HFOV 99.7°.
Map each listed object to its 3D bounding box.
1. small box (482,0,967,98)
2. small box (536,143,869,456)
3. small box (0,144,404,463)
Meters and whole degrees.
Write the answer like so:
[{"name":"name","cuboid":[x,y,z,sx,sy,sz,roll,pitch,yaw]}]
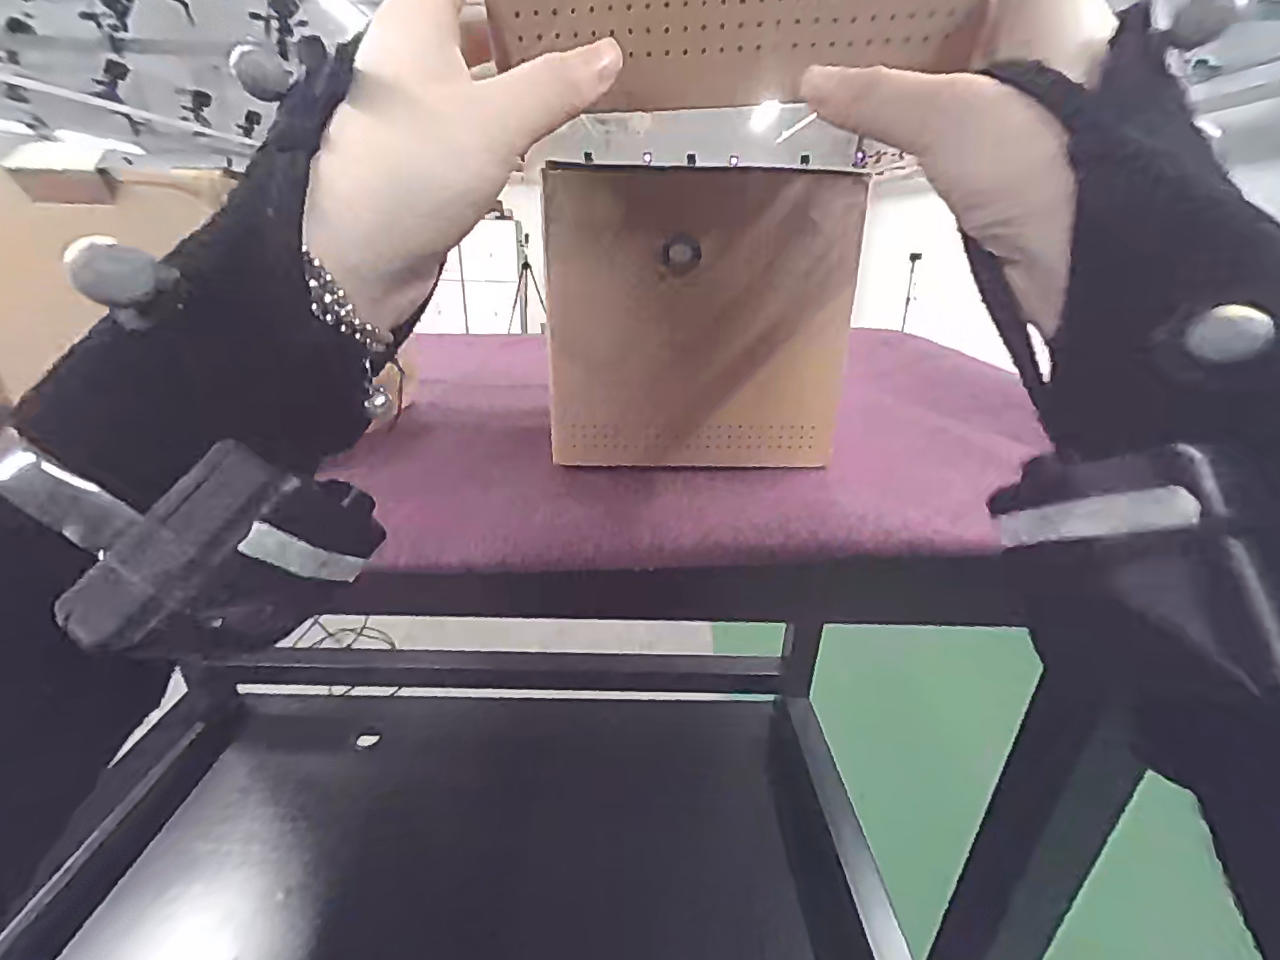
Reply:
[{"name":"small box","cuboid":[0.029,-0.253,0.200,0.179,0.176,0.168,-1,42,2]},{"name":"small box","cuboid":[0.033,-0.119,0.378,0.179,0.176,0.168,0,22,-1]},{"name":"small box","cuboid":[-0.280,-0.117,0.367,0.168,0.176,0.179,3,23,1]}]
